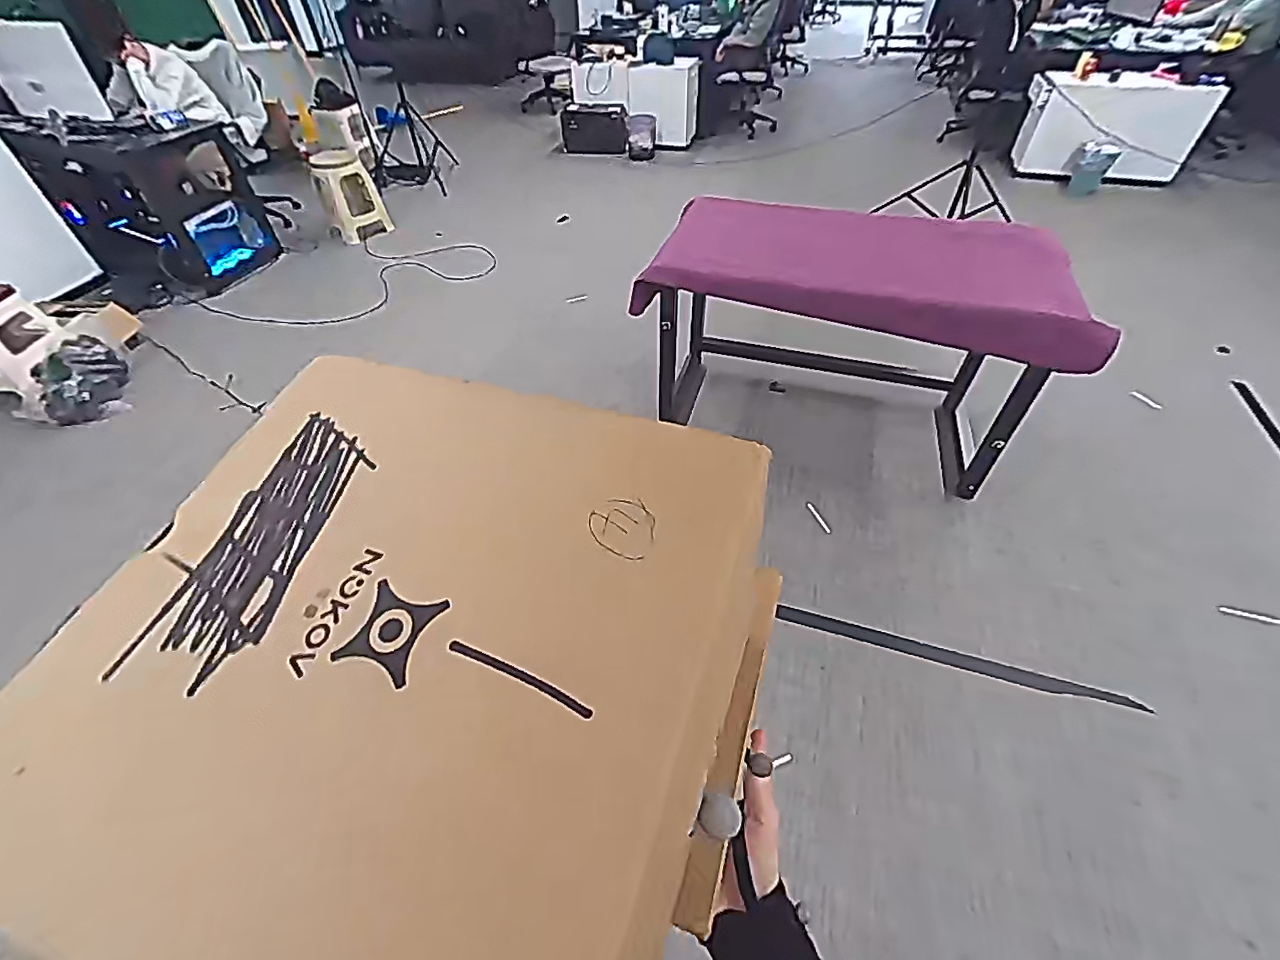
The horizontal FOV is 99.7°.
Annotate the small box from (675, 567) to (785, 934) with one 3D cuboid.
[{"bbox_3d":[-0.008,0.152,0.357,0.168,0.176,0.179,12,58,15],"label":"small box"}]

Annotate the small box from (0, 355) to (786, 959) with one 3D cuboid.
[{"bbox_3d":[-0.057,0.081,0.211,0.179,0.176,0.168,15,59,17],"label":"small box"}]
